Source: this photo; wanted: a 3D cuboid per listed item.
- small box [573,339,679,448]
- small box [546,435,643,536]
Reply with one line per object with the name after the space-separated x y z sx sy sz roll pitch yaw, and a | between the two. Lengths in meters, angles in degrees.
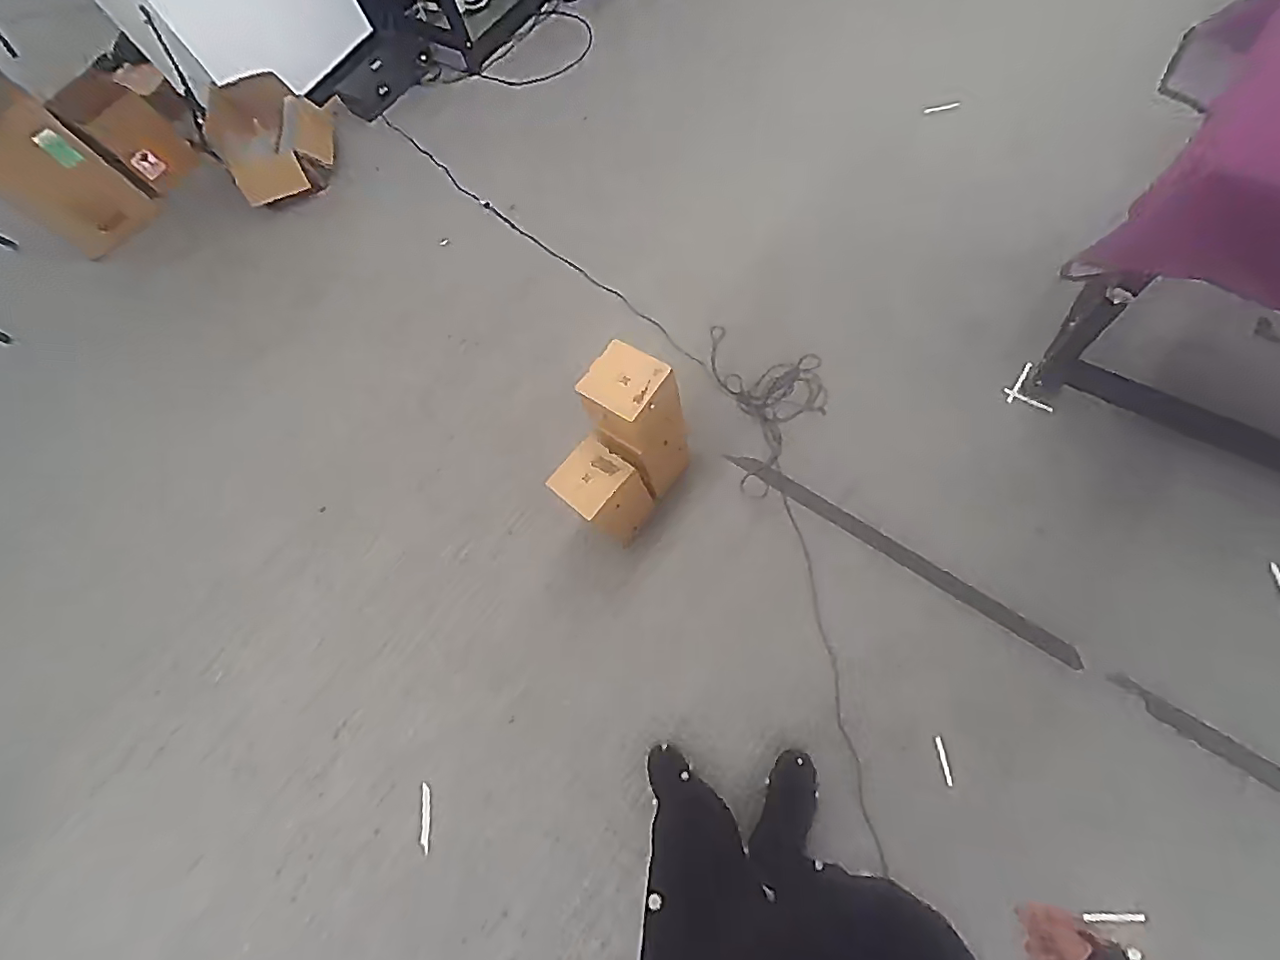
-0.027 -0.203 1.305 0.179 0.176 0.168 31 79 22 | small box
-0.110 0.021 1.416 0.168 0.176 0.179 37 82 22 | small box
